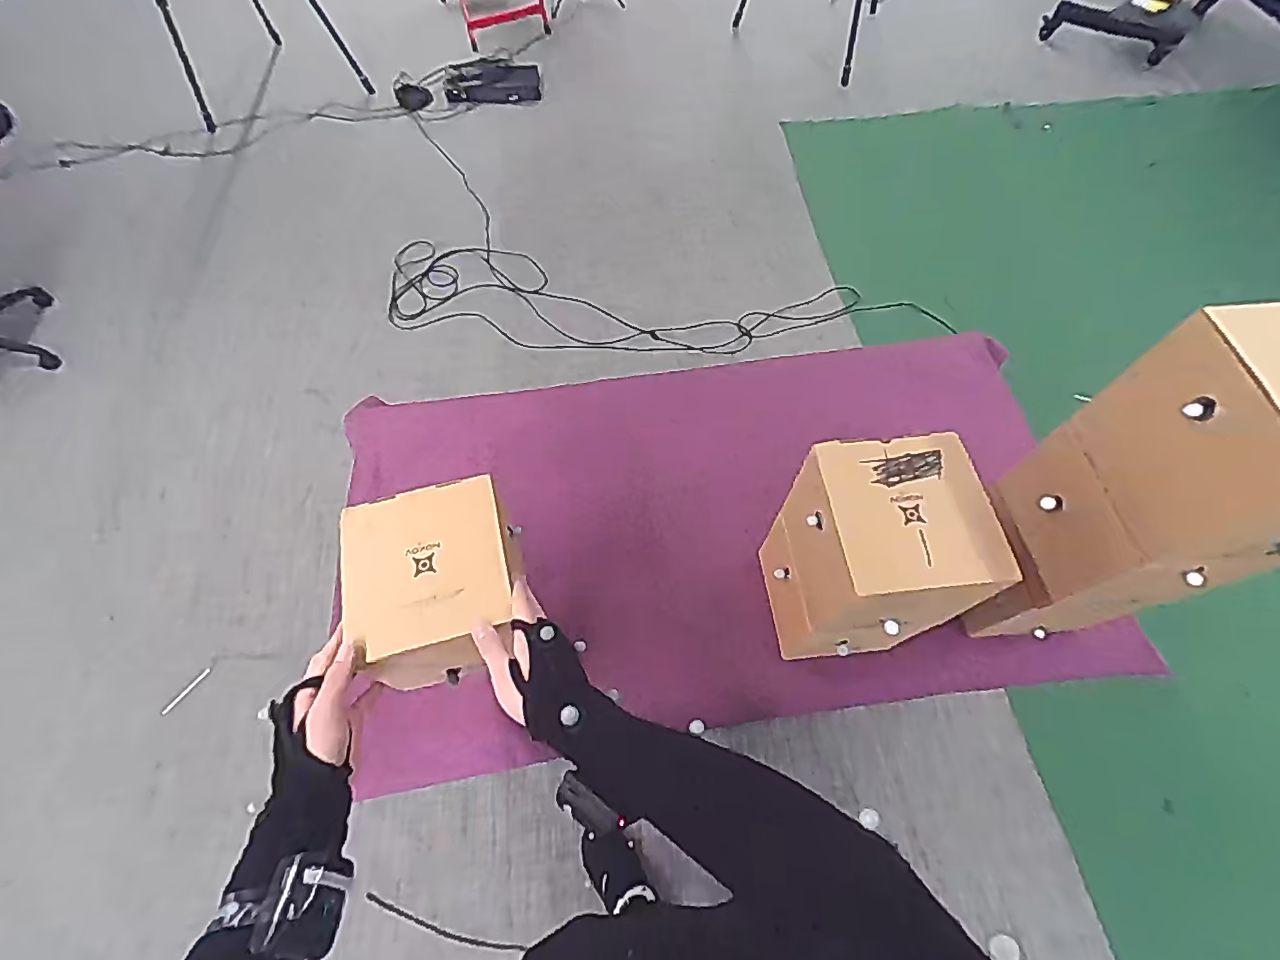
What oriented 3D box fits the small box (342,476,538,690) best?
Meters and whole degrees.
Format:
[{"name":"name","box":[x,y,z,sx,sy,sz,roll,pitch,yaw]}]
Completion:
[{"name":"small box","box":[-0.222,0.123,0.625,0.168,0.176,0.179,-13,63,-8]}]

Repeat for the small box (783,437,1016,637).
[{"name":"small box","box":[0.277,0.071,0.630,0.168,0.176,0.179,-5,61,-1]}]

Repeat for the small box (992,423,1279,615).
[{"name":"small box","box":[0.558,0.047,0.633,0.168,0.176,0.179,-4,61,0]}]

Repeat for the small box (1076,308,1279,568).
[{"name":"small box","box":[0.555,-0.033,0.489,0.168,0.176,0.179,-3,62,1]}]

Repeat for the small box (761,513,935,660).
[{"name":"small box","box":[0.279,0.152,0.772,0.168,0.176,0.179,-6,60,-2]}]
